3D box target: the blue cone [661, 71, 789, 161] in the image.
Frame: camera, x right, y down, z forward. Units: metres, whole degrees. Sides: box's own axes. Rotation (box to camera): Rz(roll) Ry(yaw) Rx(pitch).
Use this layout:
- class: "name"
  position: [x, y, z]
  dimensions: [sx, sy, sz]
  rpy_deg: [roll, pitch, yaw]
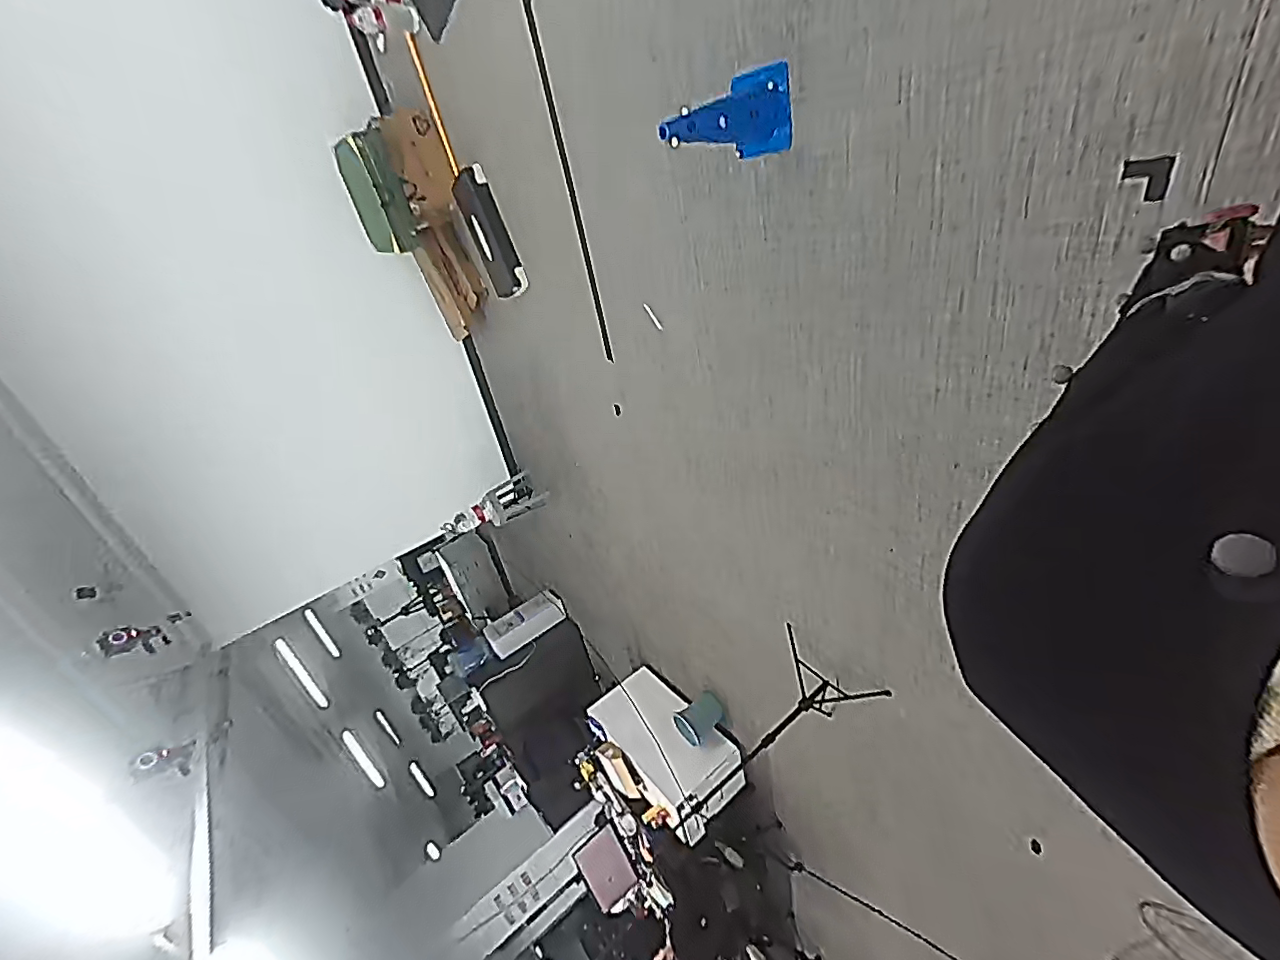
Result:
- class: "blue cone"
  position: [0.203, -0.922, 1.413]
  dimensions: [0.193, 0.380, 0.192]
  rpy_deg: [27, 139, 48]
